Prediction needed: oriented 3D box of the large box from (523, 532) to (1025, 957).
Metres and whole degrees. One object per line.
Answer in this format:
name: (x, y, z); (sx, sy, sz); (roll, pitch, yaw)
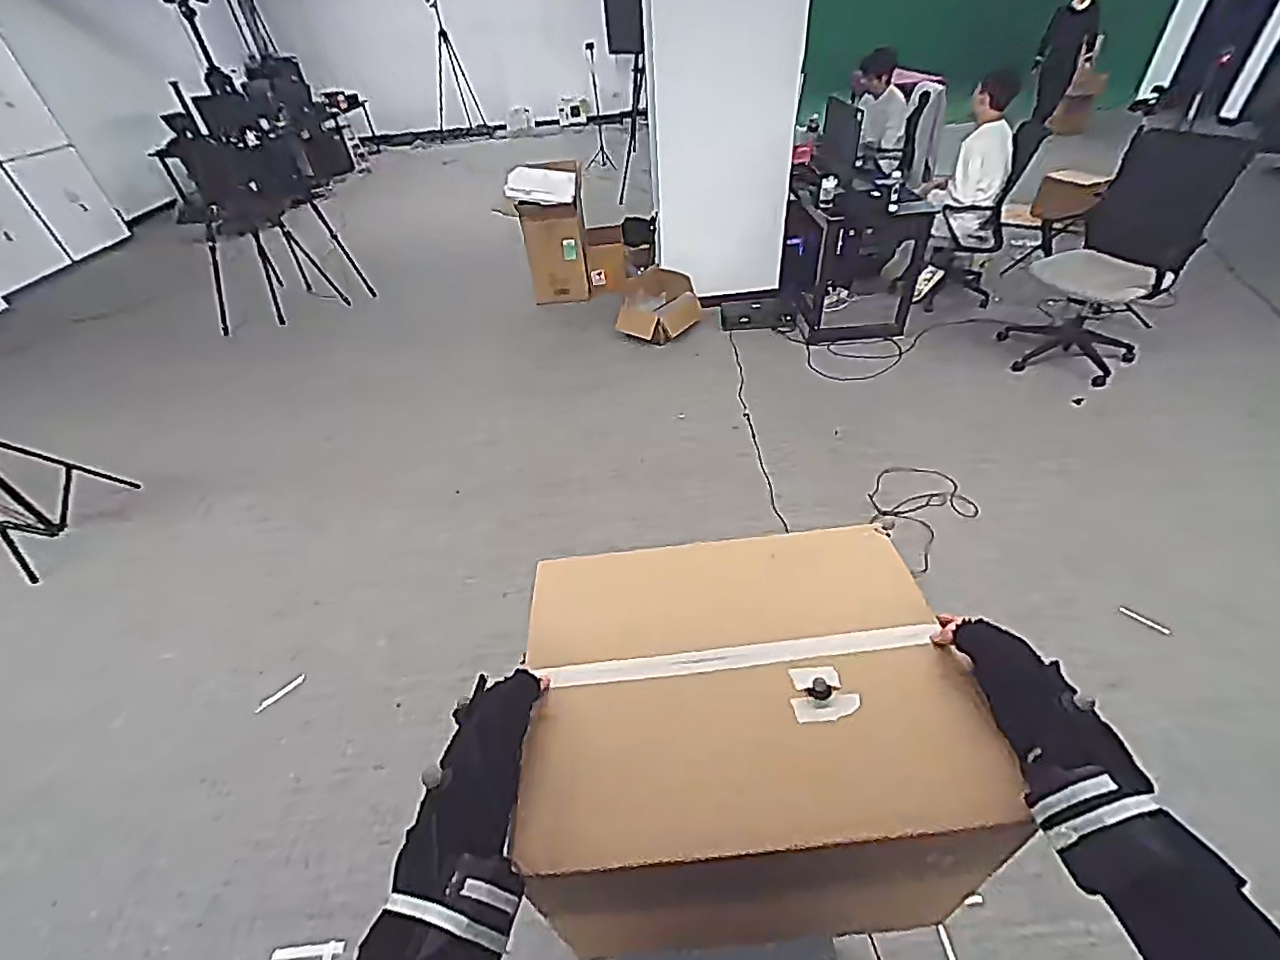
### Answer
large box: (0.106, 0.296, 0.624); (0.408, 0.320, 0.320); (-7, 39, 0)
